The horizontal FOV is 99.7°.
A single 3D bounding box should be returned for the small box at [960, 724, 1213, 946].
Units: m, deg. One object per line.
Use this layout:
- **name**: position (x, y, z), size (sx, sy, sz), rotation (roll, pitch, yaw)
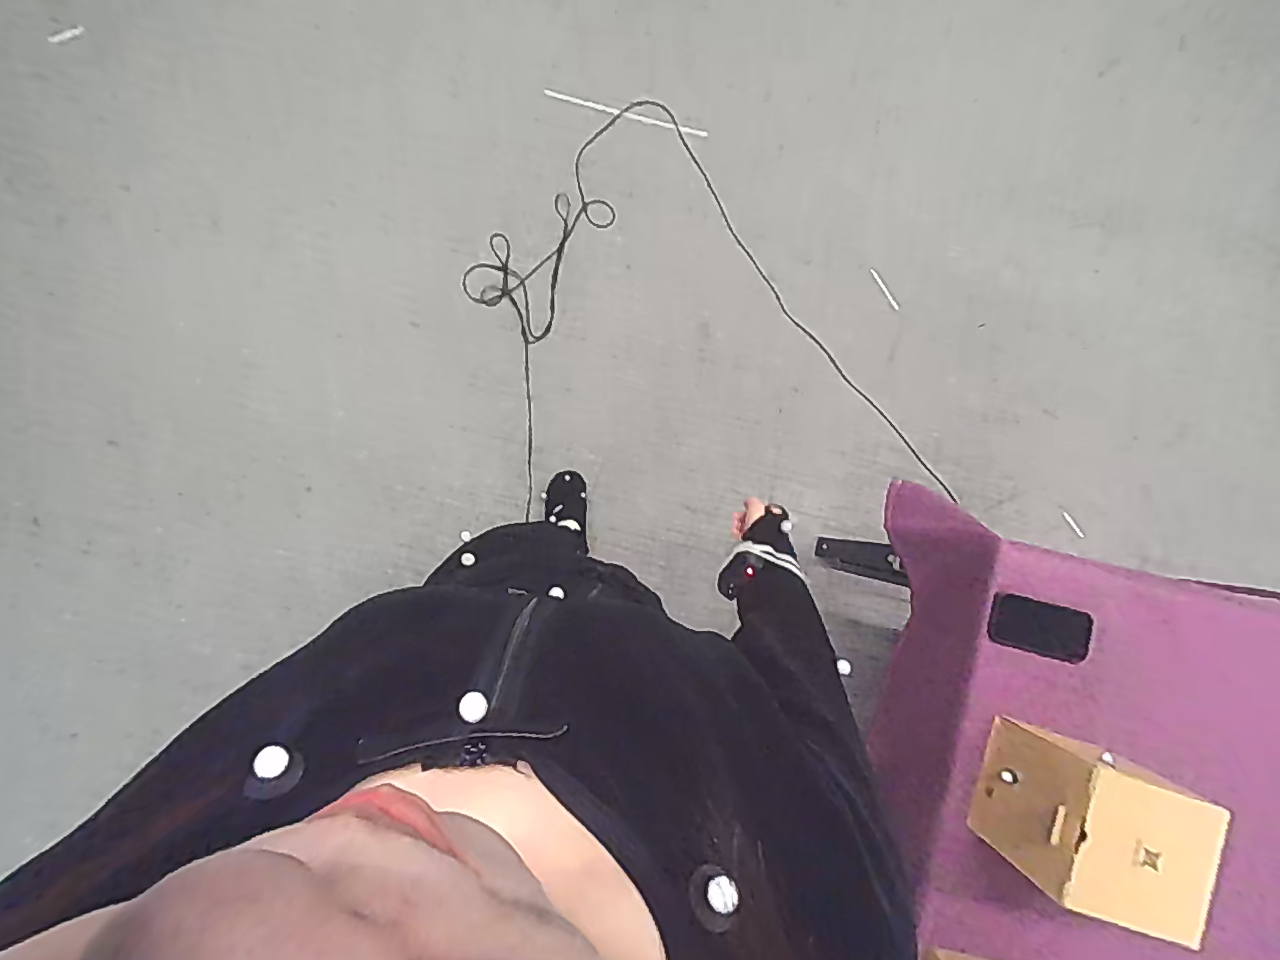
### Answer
- **small box**: position (0.579, 0.454, 0.723), size (0.179, 0.176, 0.168), rotation (19, 86, -2)
